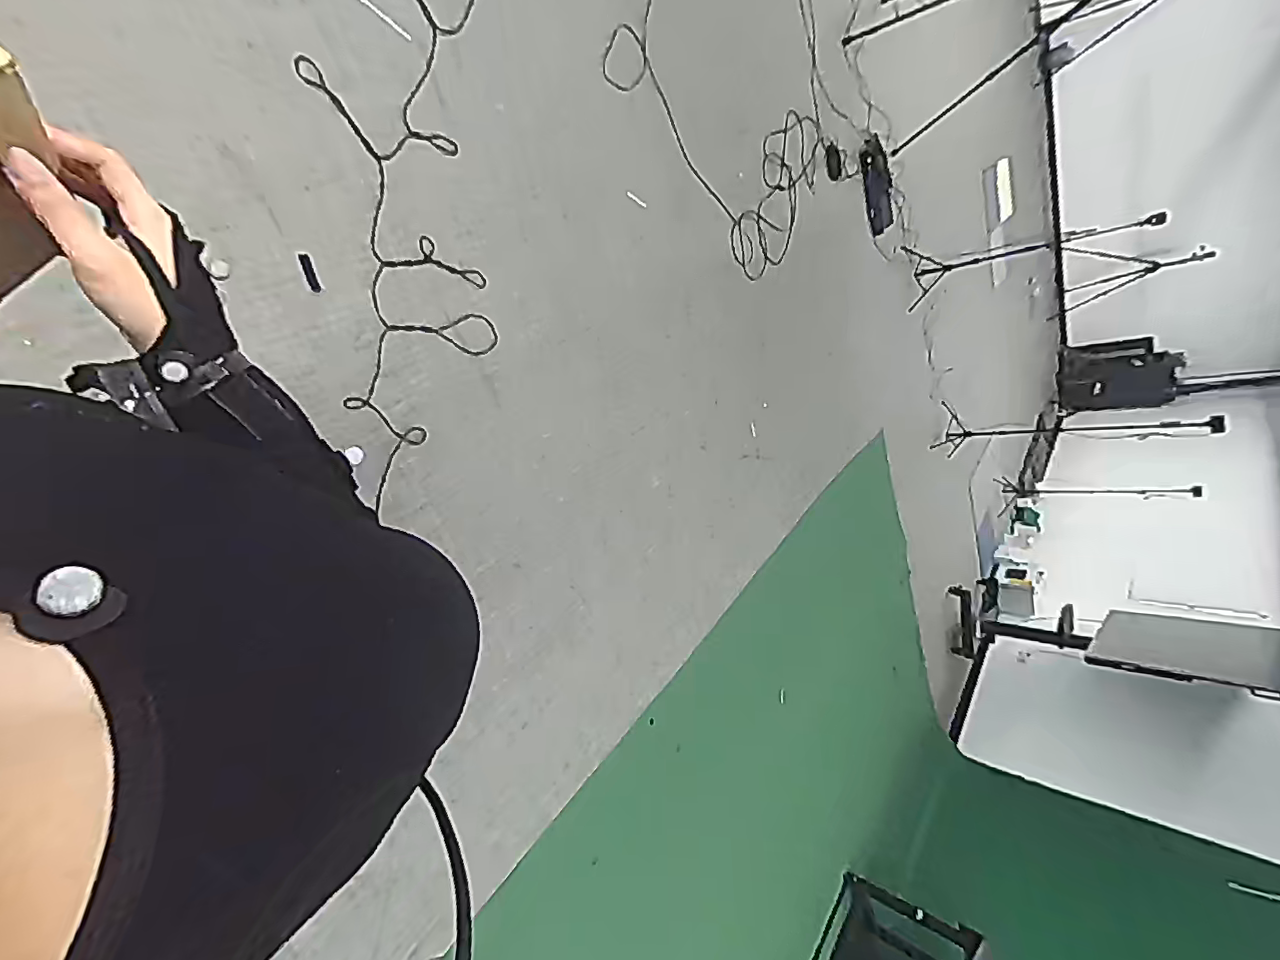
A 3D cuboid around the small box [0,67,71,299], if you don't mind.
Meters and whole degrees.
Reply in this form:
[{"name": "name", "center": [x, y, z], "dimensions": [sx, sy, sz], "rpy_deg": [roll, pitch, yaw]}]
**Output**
[{"name": "small box", "center": [-0.412, -0.150, 0.231], "dimensions": [0.168, 0.176, 0.179], "rpy_deg": [38, 65, -29]}]
